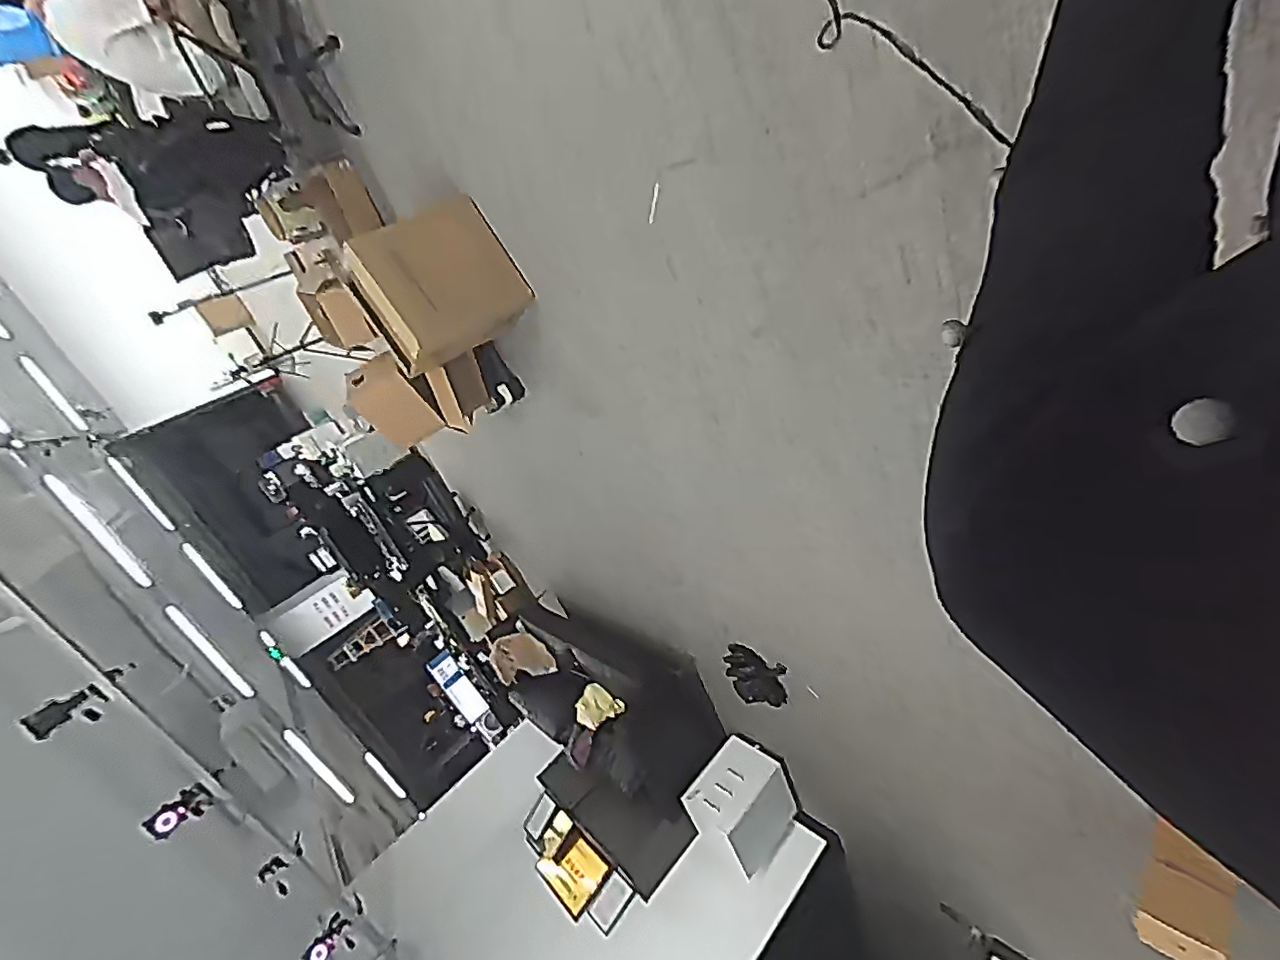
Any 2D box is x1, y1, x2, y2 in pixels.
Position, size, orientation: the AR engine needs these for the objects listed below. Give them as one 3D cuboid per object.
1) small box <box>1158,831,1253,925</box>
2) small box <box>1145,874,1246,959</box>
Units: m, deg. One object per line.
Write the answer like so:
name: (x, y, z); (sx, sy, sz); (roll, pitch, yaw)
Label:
small box: (1.675, 1.188, 1.602); (0.179, 0.176, 0.168); (5, 126, 51)
small box: (1.559, 1.262, 1.518); (0.179, 0.176, 0.168); (4, 123, 52)
